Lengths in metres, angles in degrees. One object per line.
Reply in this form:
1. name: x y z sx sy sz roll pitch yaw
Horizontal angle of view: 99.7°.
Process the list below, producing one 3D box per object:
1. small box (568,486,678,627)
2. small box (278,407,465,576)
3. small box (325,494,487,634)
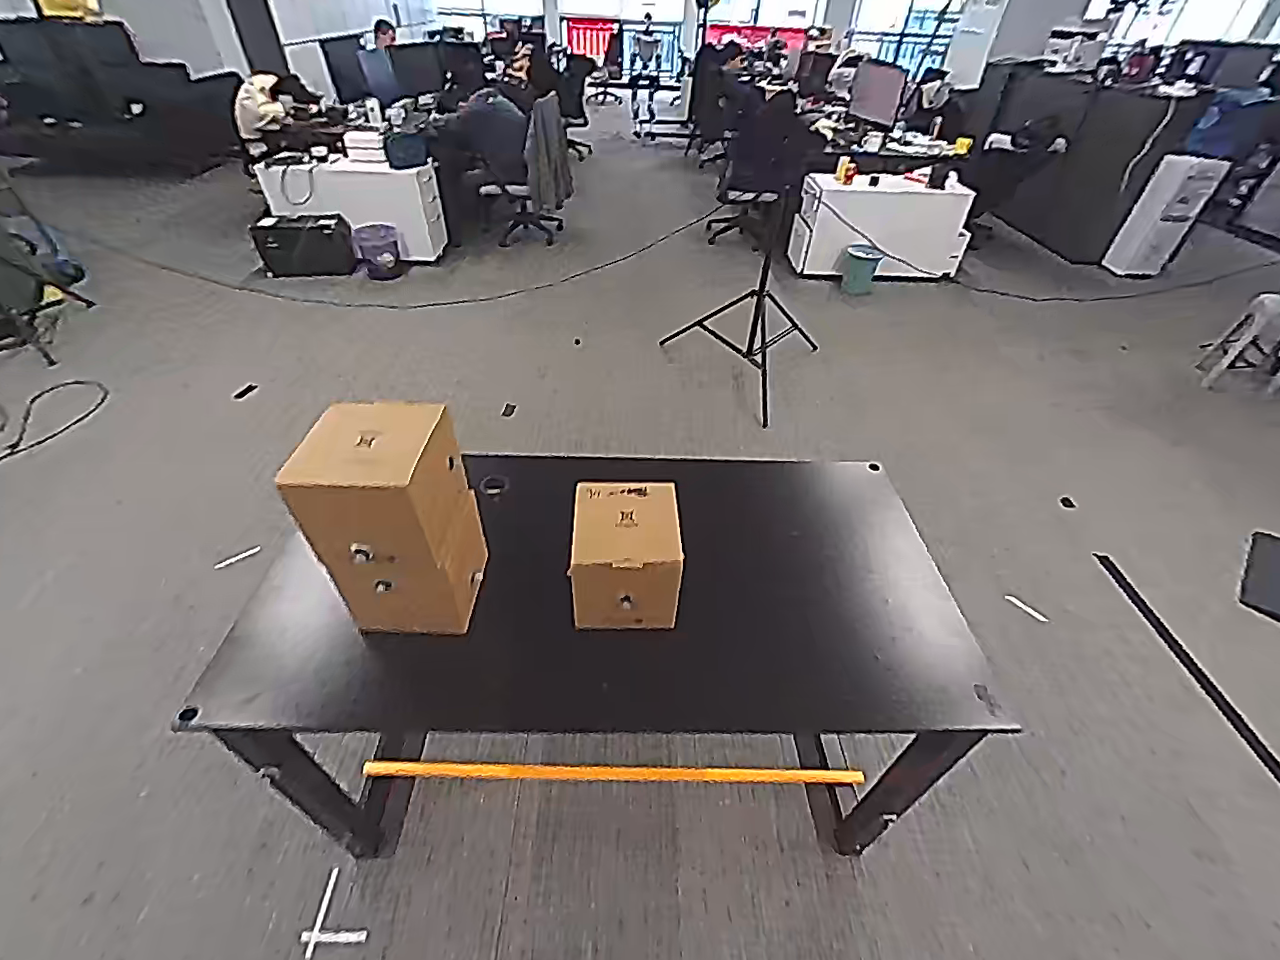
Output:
1. small box: -0.026 0.130 0.902 0.168 0.176 0.179 0 42 -3
2. small box: -0.359 0.014 0.768 0.168 0.176 0.179 0 43 -1
3. small box: -0.363 0.135 0.878 0.179 0.176 0.168 2 42 -1
